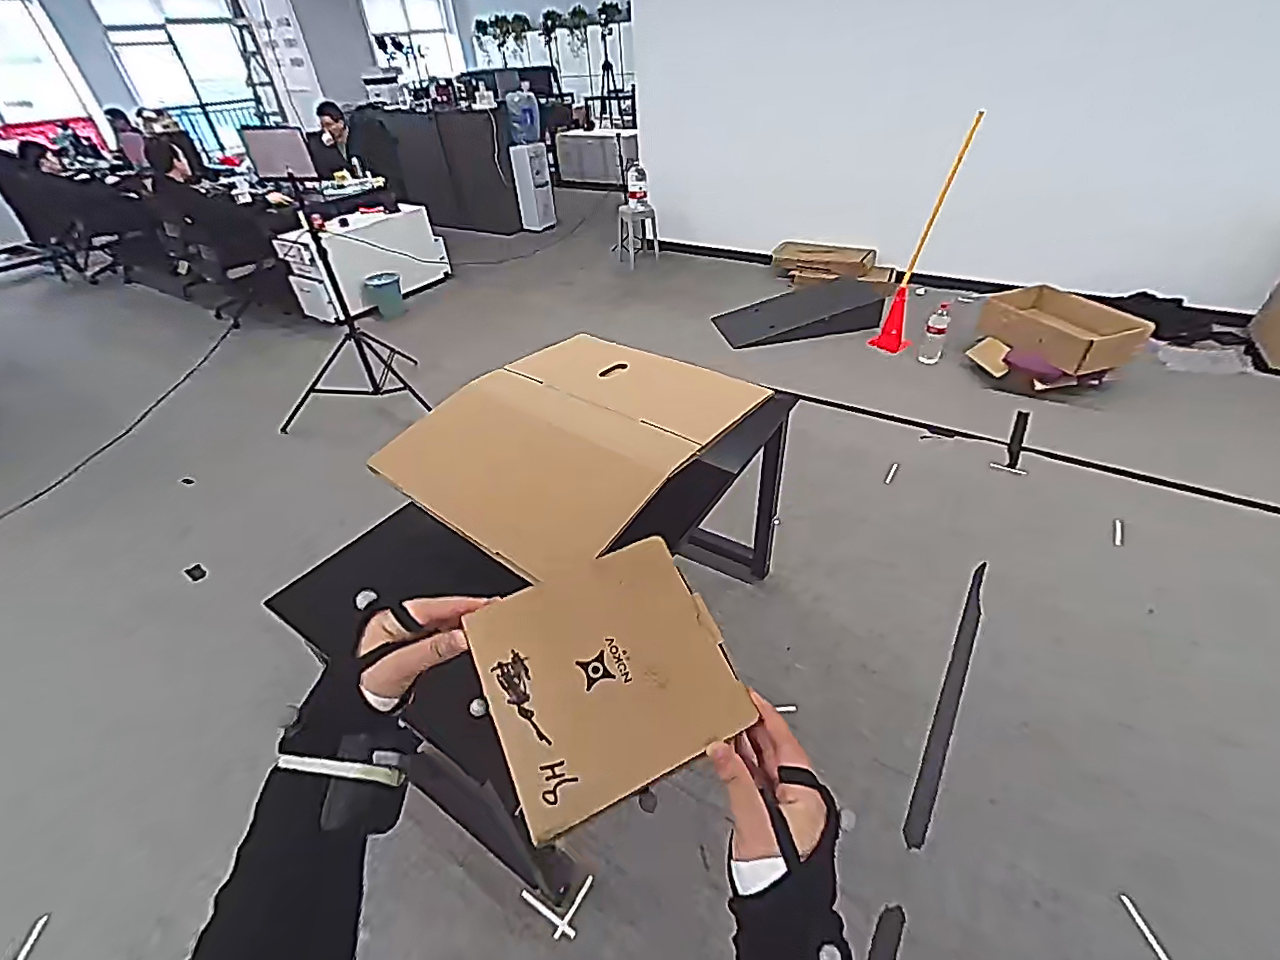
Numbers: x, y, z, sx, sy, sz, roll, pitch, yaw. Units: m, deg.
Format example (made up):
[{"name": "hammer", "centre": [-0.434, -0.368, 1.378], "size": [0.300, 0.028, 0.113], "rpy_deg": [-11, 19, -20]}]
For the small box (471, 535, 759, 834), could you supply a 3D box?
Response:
[{"name": "small box", "centre": [-0.030, 0.179, 0.475], "size": [0.179, 0.176, 0.168], "rpy_deg": [-20, 61, -18]}]
